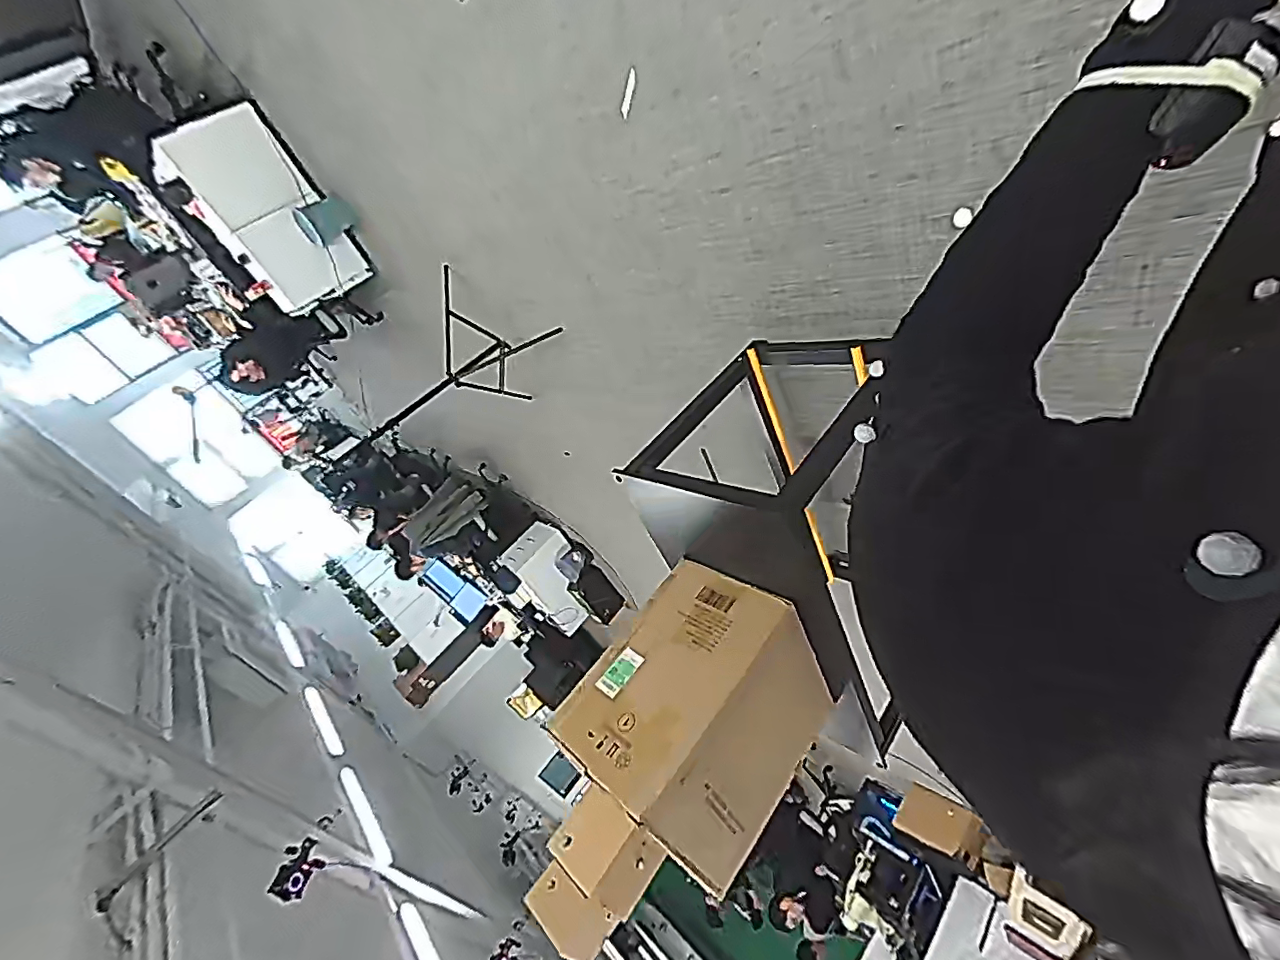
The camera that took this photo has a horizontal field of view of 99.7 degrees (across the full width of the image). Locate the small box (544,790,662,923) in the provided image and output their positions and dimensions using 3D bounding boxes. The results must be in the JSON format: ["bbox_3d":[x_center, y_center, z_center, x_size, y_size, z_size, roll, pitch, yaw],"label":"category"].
[{"bbox_3d":[-0.081,0.854,1.247,0.179,0.176,0.168,11,142,49],"label":"small box"}]

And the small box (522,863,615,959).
[{"bbox_3d":[-0.174,1.132,1.442,0.179,0.176,0.168,17,145,46],"label":"small box"}]
